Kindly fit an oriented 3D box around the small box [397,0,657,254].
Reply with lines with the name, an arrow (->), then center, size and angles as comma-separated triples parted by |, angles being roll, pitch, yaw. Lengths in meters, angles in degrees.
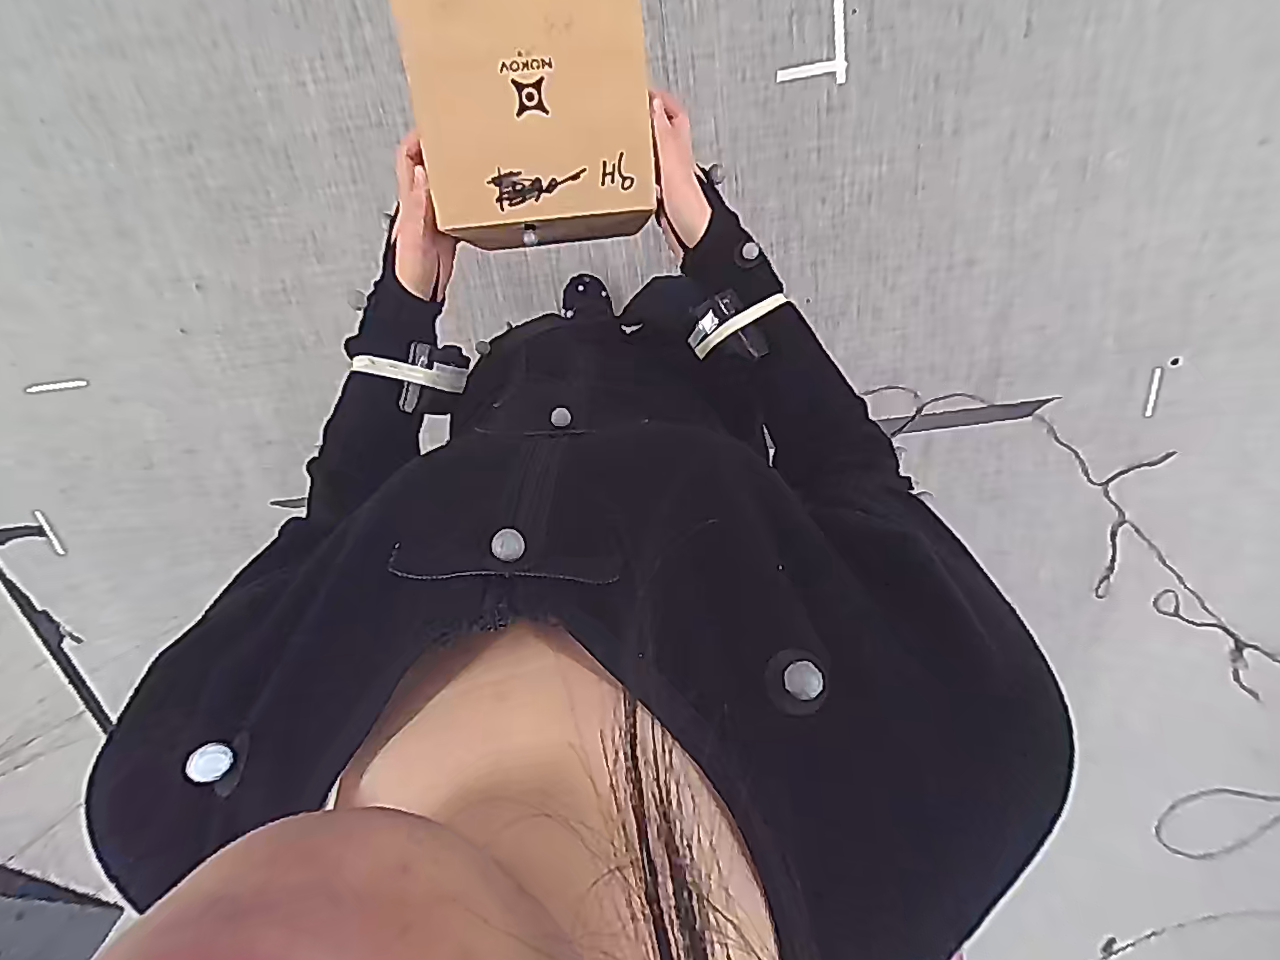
small box -> -0.083, -0.297, 0.451 | 0.168, 0.176, 0.179 | -7, 108, -3
